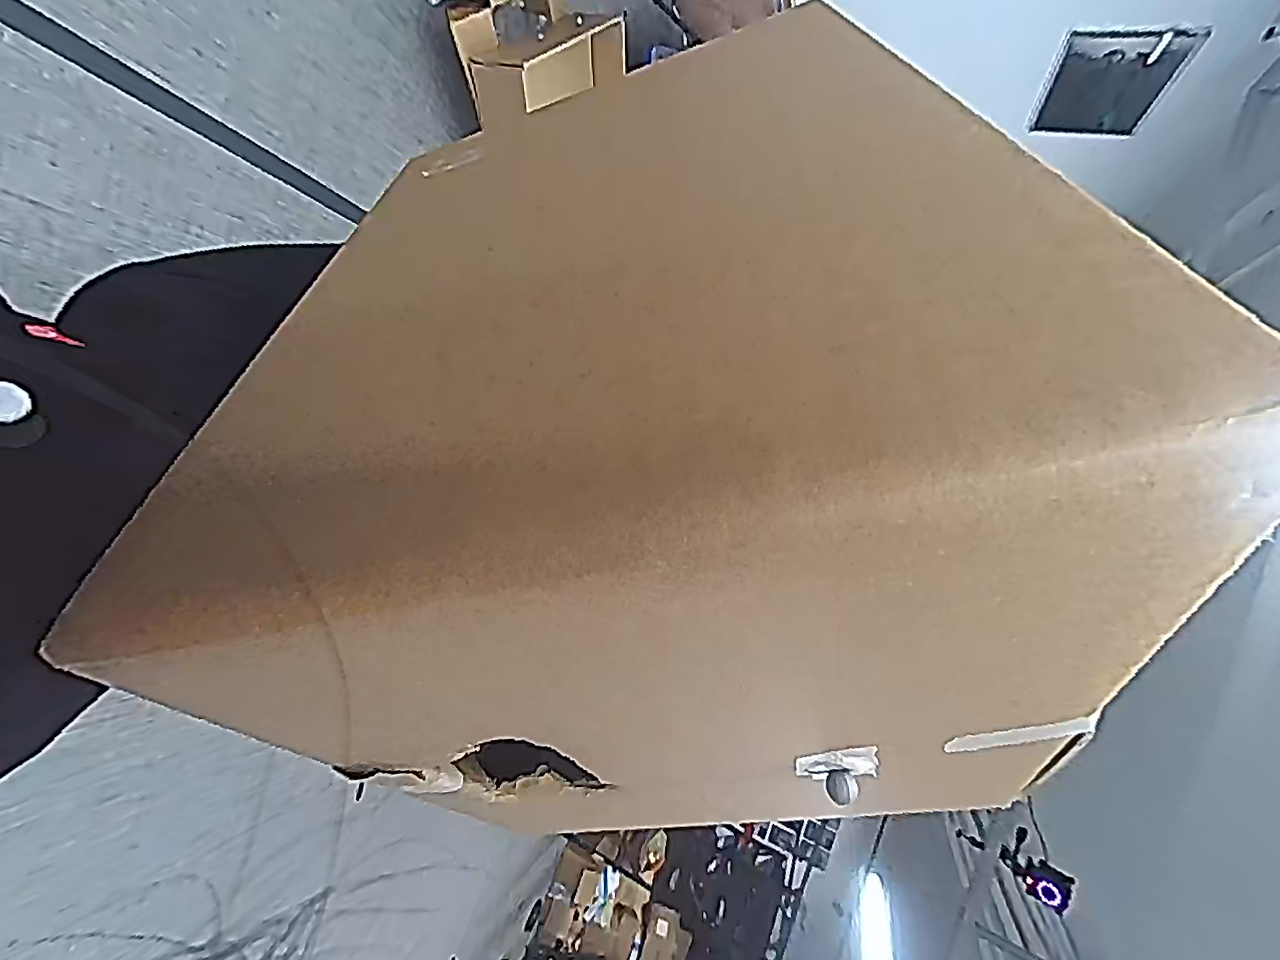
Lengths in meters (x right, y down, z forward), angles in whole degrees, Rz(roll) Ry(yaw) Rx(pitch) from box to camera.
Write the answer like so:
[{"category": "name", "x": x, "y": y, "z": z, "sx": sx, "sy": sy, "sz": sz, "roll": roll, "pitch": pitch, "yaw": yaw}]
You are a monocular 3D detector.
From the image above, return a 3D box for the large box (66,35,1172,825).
[{"category": "large box", "x": 0.012, "y": -0.032, "z": 0.368, "sx": 0.320, "sy": 0.320, "sz": 0.408, "roll": 66, "pitch": 18, "yaw": -45}]
